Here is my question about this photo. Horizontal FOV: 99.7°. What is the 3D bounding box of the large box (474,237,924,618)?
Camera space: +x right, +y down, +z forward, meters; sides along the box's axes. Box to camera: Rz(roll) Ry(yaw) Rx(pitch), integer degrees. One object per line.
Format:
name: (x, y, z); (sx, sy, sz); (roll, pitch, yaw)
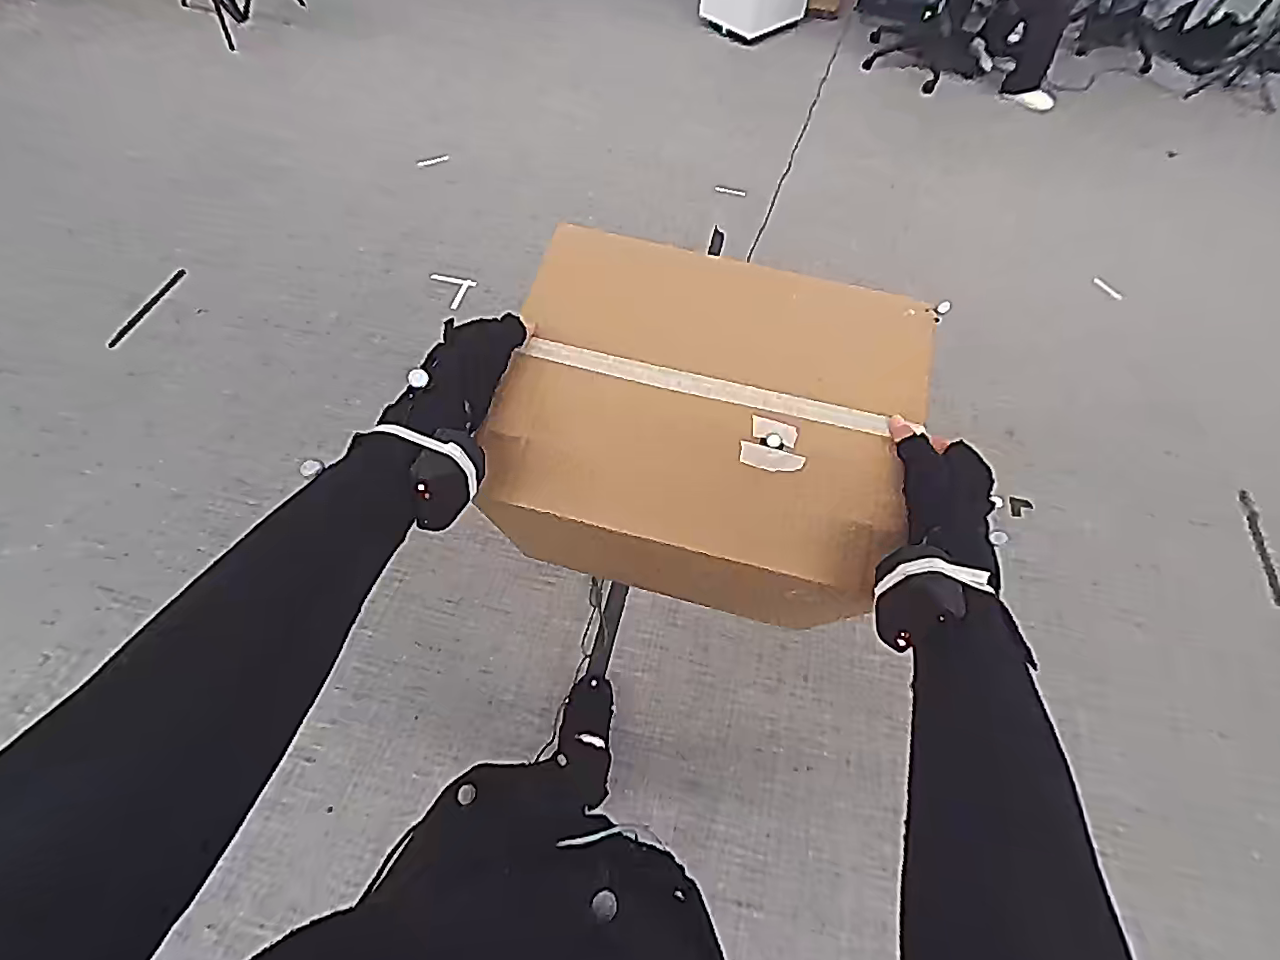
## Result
large box: (0.068, -0.038, 0.676); (0.408, 0.320, 0.320); (14, 72, 4)
